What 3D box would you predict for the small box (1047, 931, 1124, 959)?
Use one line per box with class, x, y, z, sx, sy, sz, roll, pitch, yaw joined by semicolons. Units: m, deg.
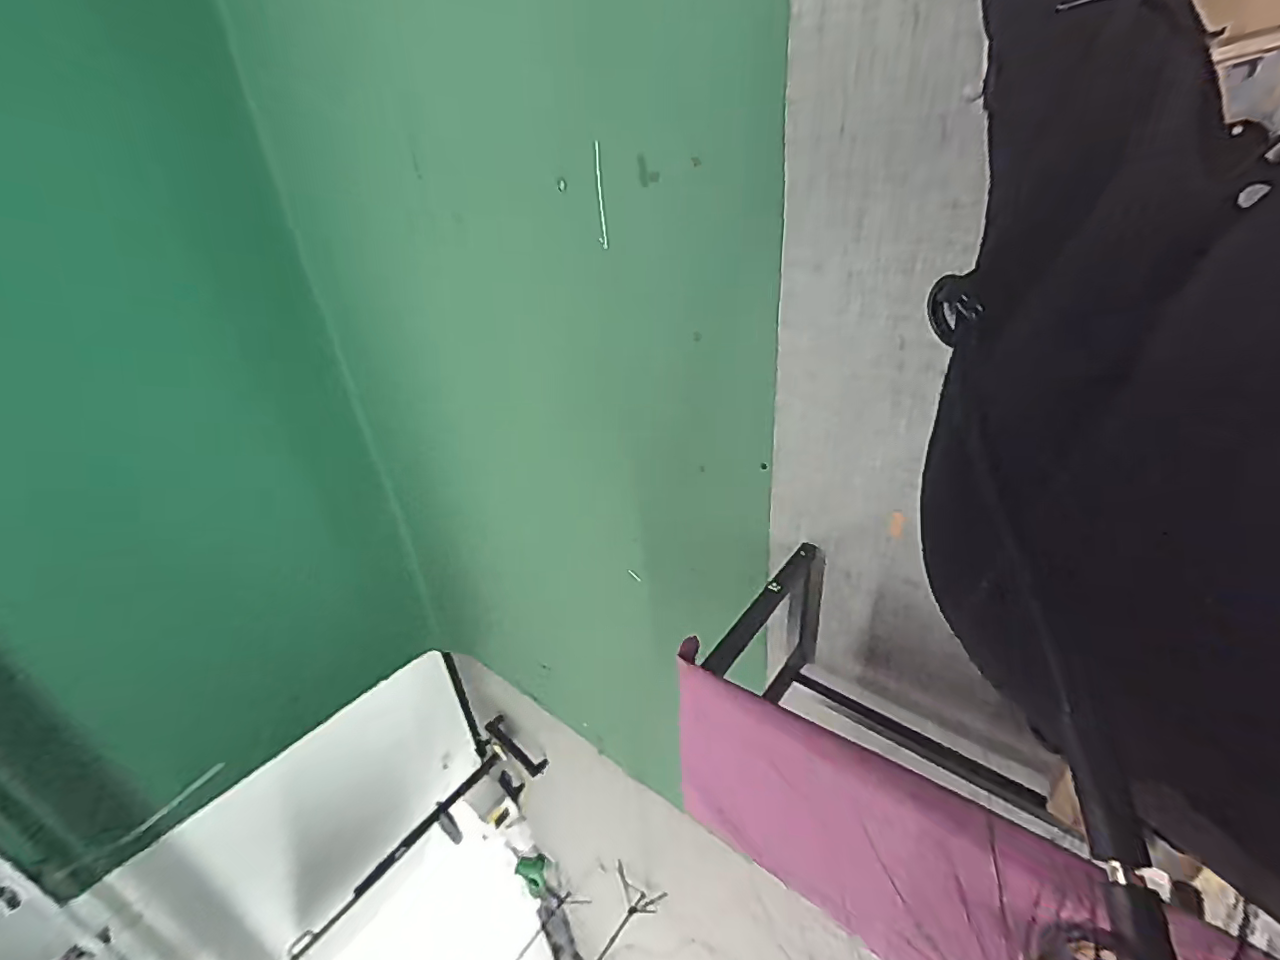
small box;0.772;0.914;0.892;0.168;0.176;0.179;20;127;35
